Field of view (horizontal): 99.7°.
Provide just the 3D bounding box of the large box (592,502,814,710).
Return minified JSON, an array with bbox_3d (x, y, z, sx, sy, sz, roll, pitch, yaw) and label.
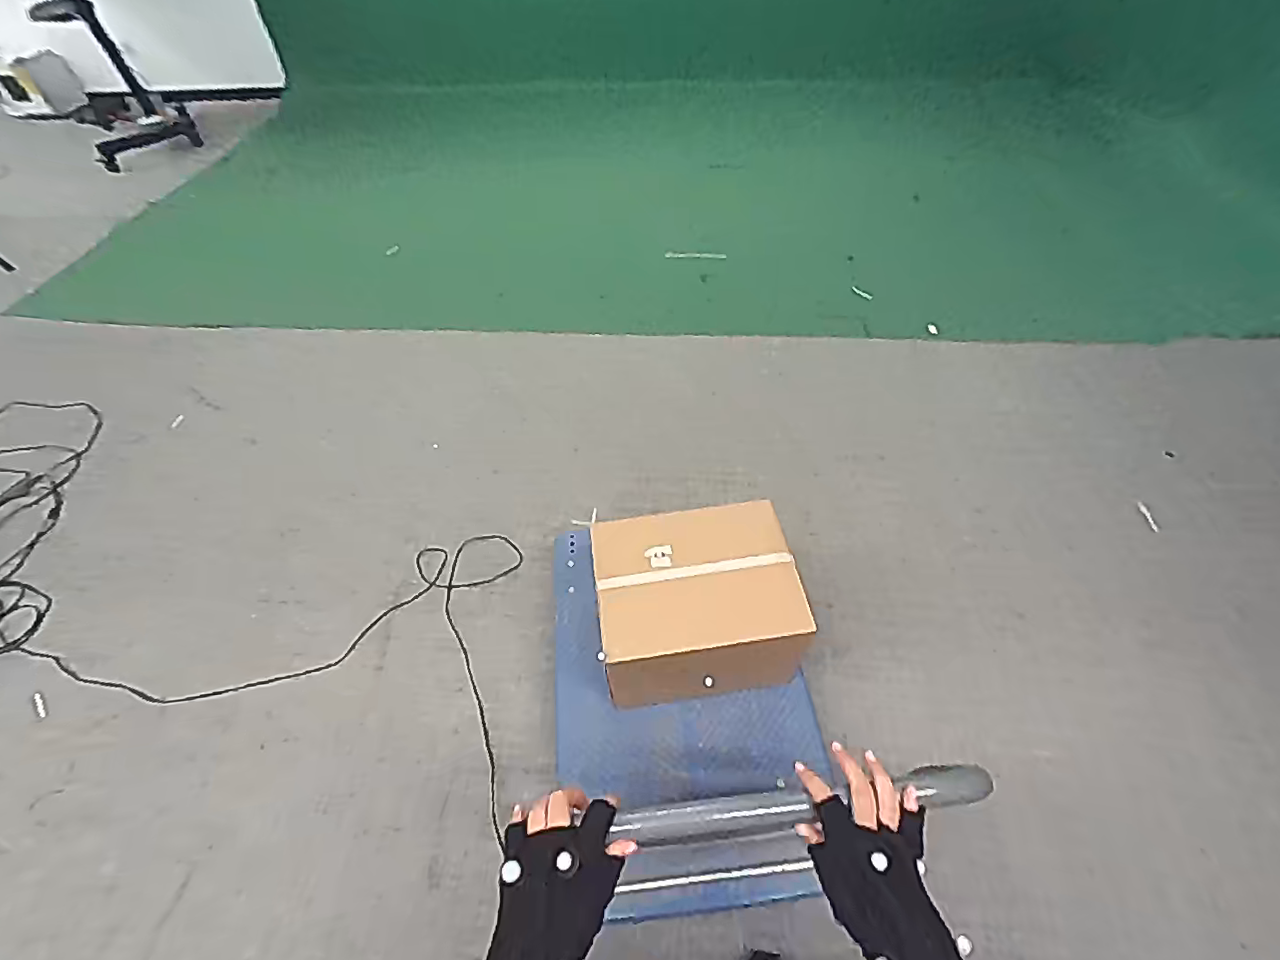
[{"bbox_3d":[0.122,0.289,1.220,0.408,0.320,0.320,-9,51,-3],"label":"large box"}]
